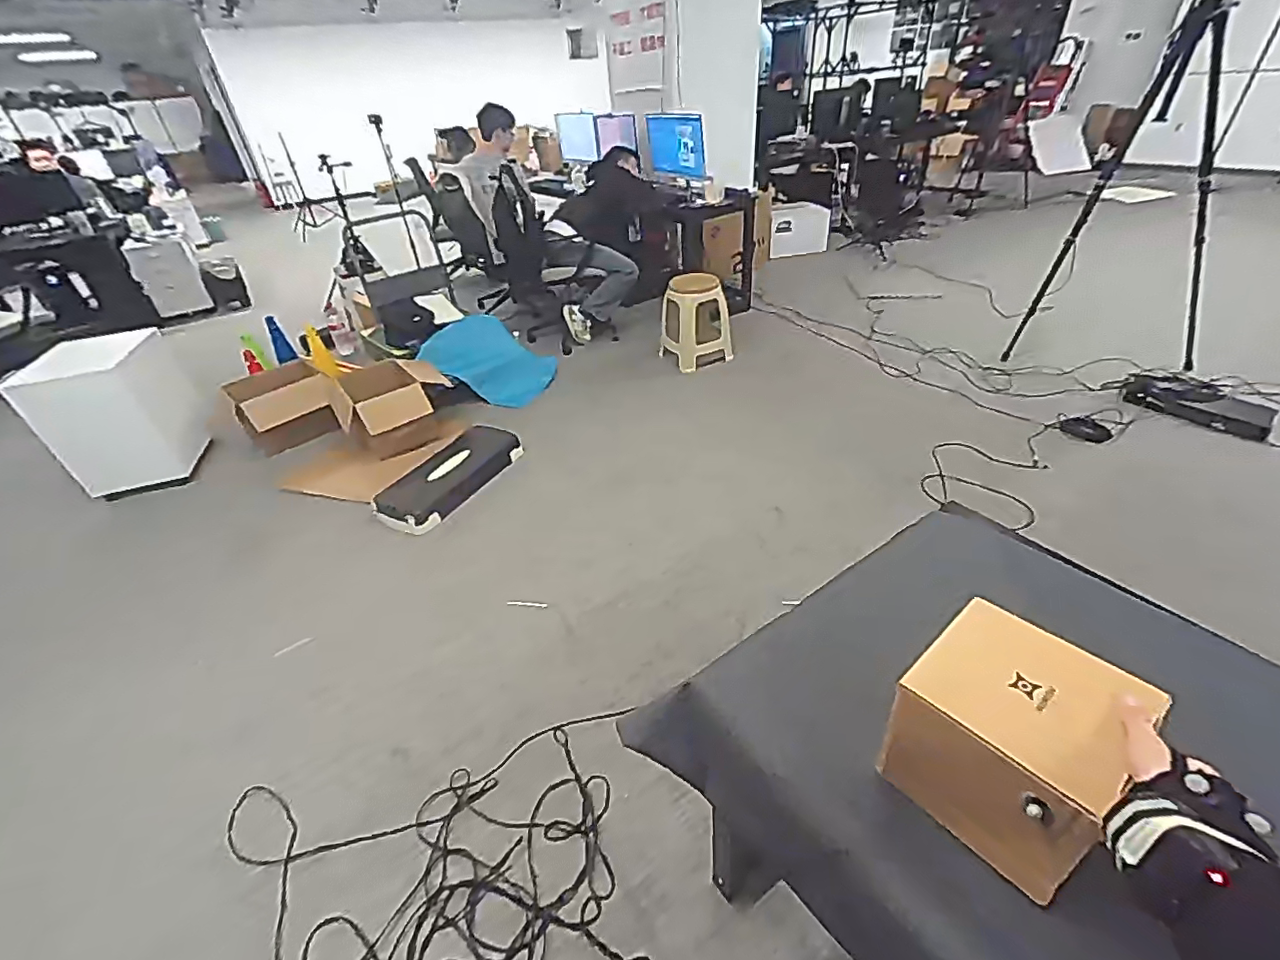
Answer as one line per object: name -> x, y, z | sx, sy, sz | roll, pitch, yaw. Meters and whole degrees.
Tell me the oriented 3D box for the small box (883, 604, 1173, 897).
small box -> 0.381, 0.271, 0.560 | 0.168, 0.176, 0.179 | -28, 40, -29
